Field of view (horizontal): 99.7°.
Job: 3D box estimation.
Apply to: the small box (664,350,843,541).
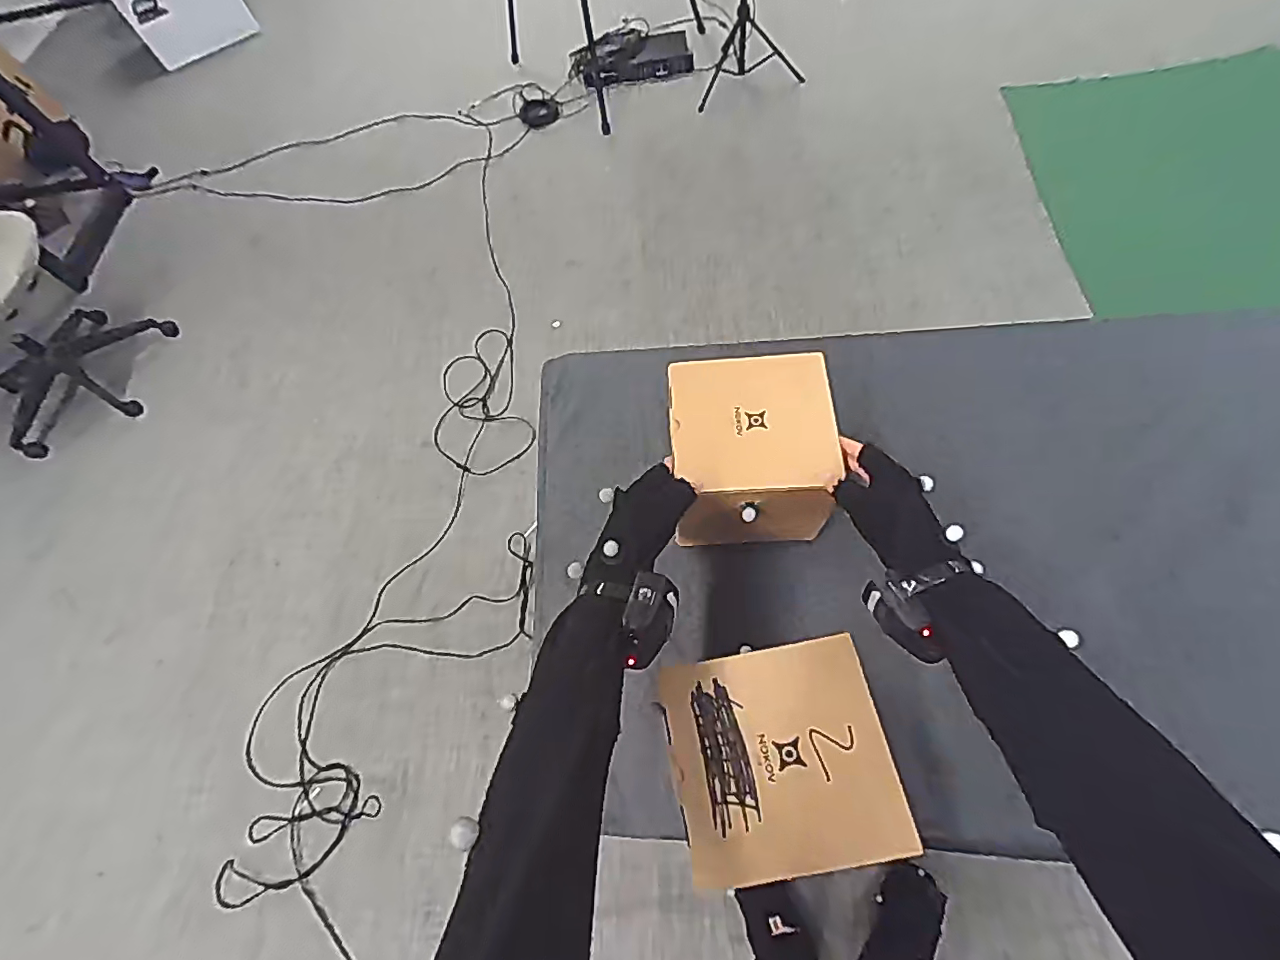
[{"bbox_3d":[0.124,-0.032,0.646,0.179,0.176,0.168,-4,65,7],"label":"small box"}]
